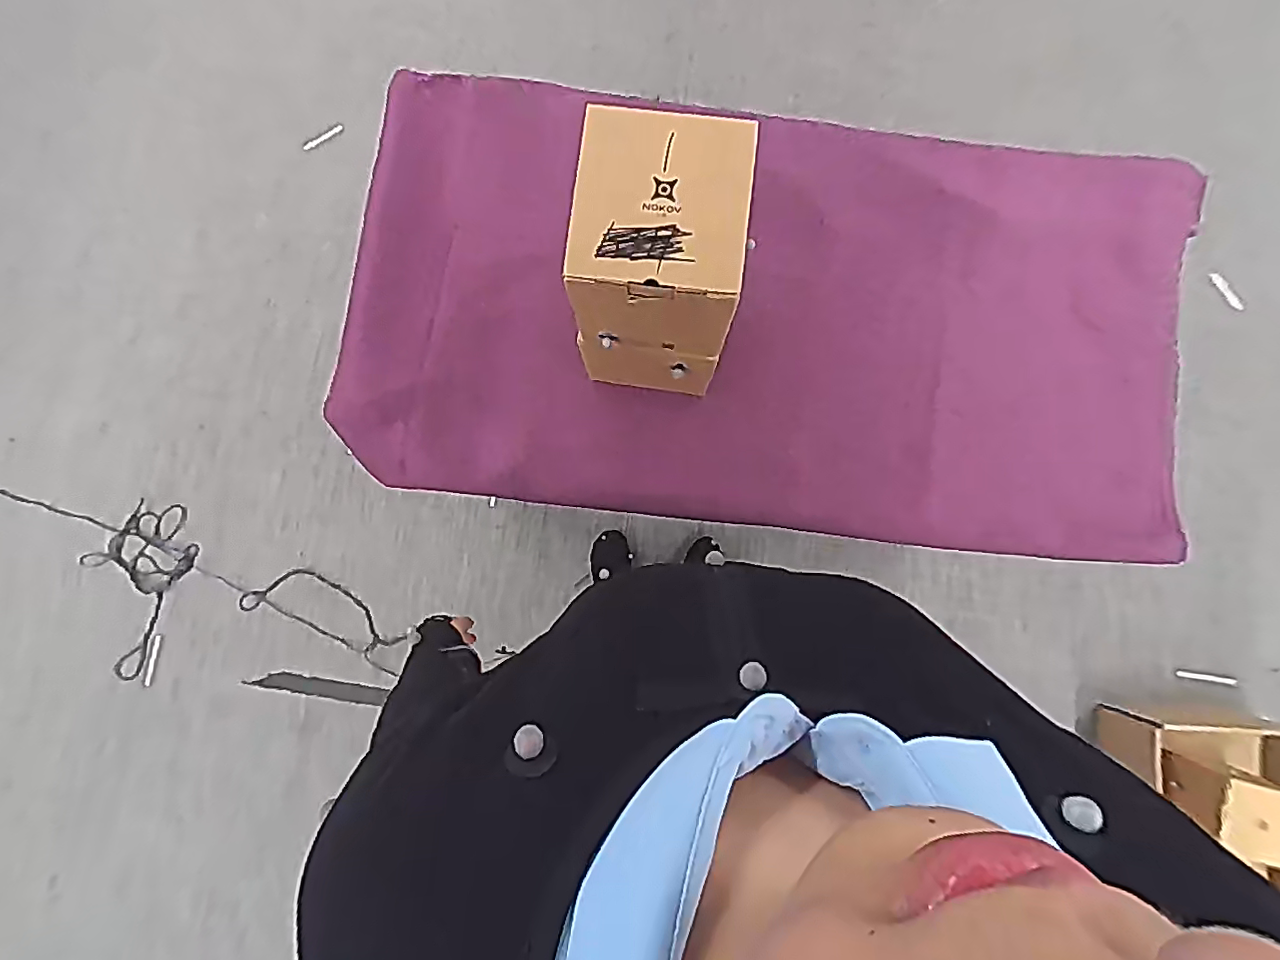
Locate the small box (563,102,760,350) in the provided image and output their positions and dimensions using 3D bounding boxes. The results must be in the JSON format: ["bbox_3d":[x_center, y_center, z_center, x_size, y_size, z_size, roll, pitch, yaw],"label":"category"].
[{"bbox_3d":[0.023,-0.252,0.576,0.168,0.176,0.179,7,84,2],"label":"small box"}]

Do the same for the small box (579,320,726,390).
[{"bbox_3d":[0.025,-0.229,0.739,0.179,0.176,0.168,8,84,2],"label":"small box"}]

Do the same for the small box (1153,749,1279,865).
[{"bbox_3d":[1.397,0.771,1.288,0.179,0.176,0.168,14,86,2],"label":"small box"}]
